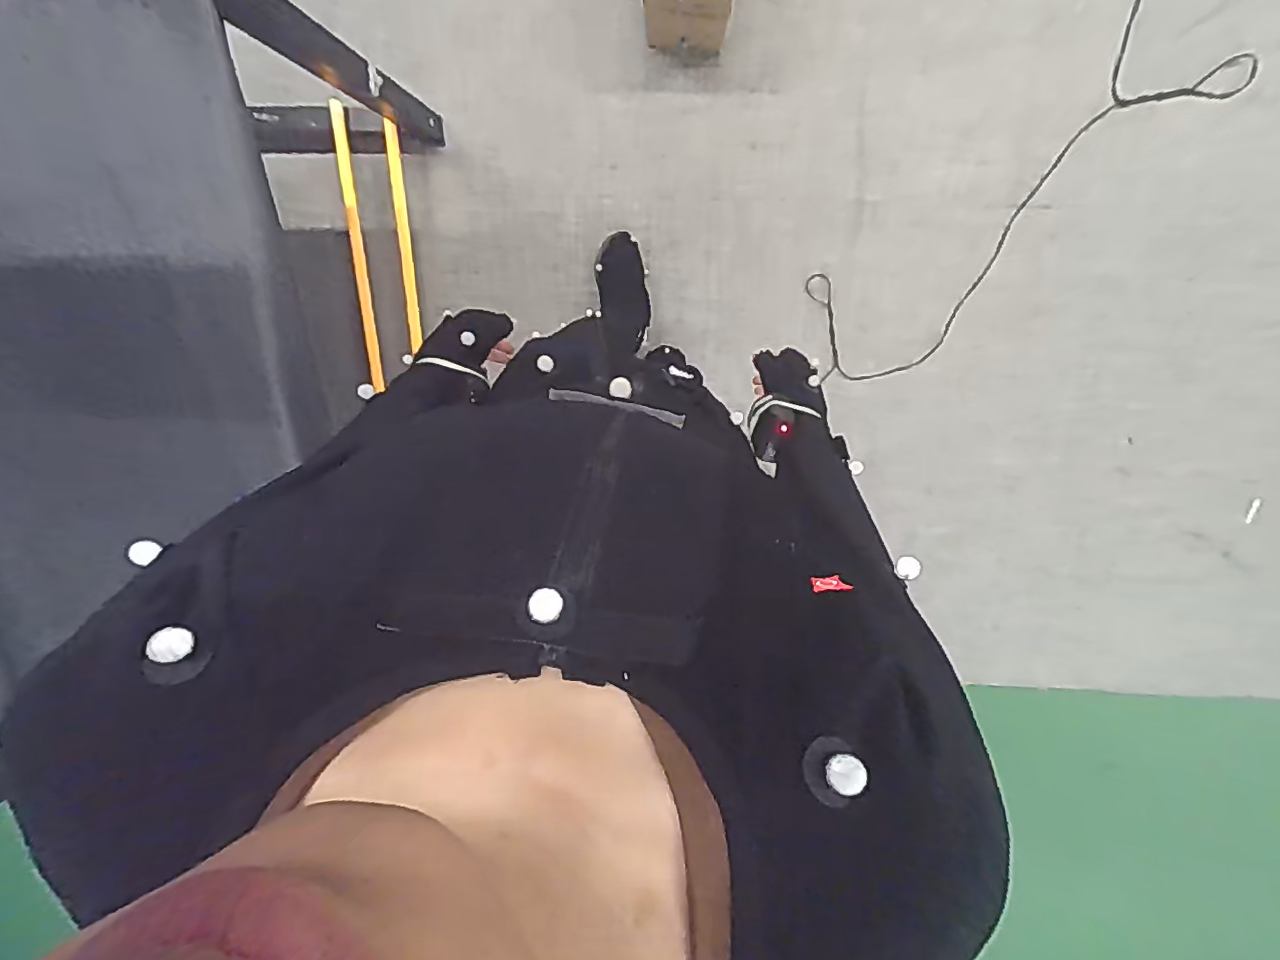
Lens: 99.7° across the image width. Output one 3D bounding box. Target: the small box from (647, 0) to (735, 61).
[{"bbox_3d":[0.107,-0.983,1.081,0.168,0.176,0.179,8,110,1],"label":"small box"}]
